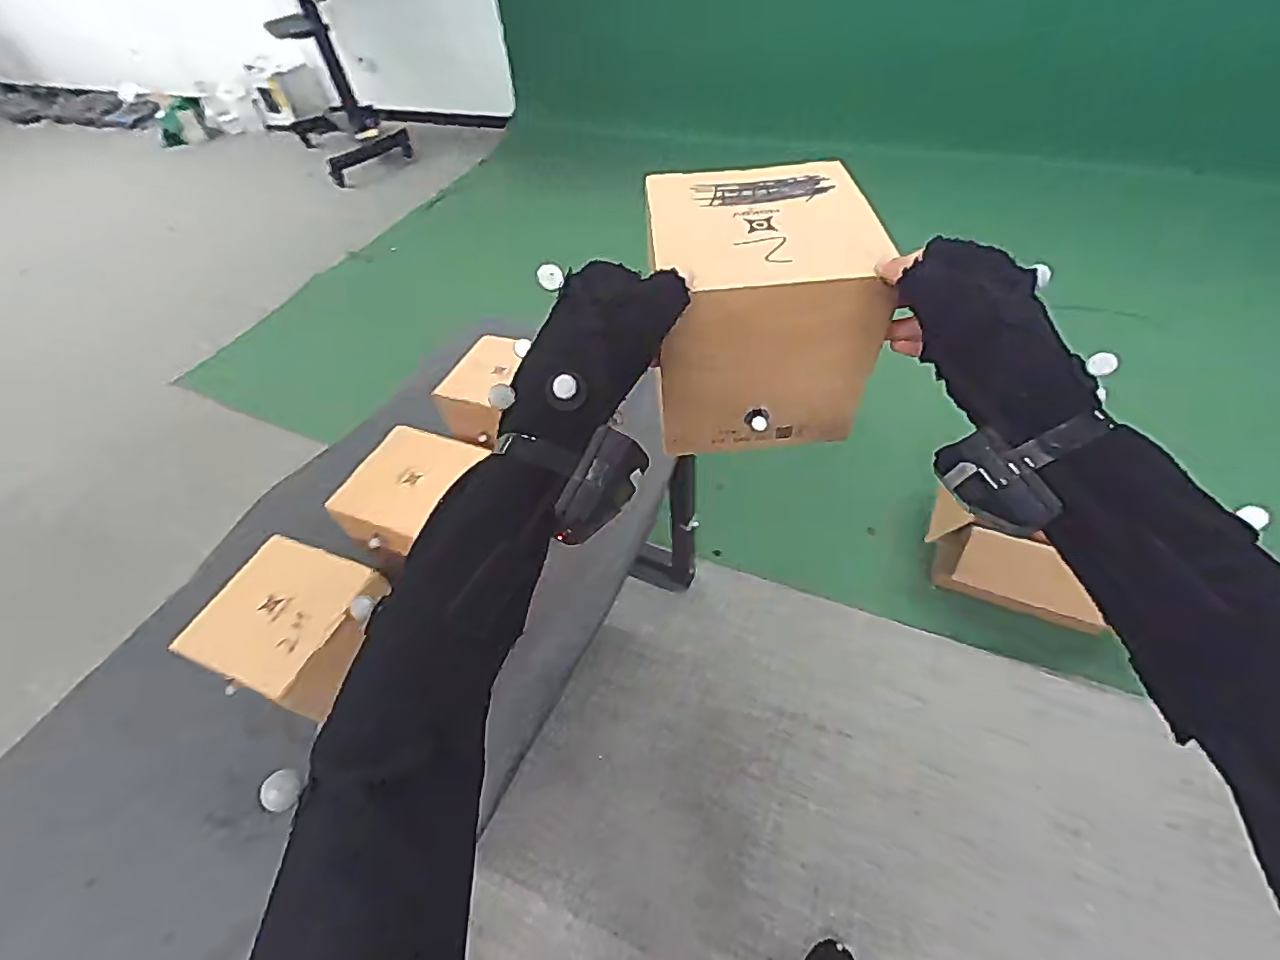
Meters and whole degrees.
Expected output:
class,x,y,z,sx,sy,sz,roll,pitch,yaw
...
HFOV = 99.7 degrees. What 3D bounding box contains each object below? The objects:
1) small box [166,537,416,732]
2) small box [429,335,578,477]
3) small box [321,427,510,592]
class,x,y,z,sx,sy,sz,roll,pitch,yaw
small box,-0.435,0.204,0.706,0.179,0.176,0.168,14,54,16
small box,-0.226,-0.128,0.954,0.179,0.176,0.168,14,54,17
small box,-0.325,0.049,0.824,0.179,0.176,0.168,15,54,17
